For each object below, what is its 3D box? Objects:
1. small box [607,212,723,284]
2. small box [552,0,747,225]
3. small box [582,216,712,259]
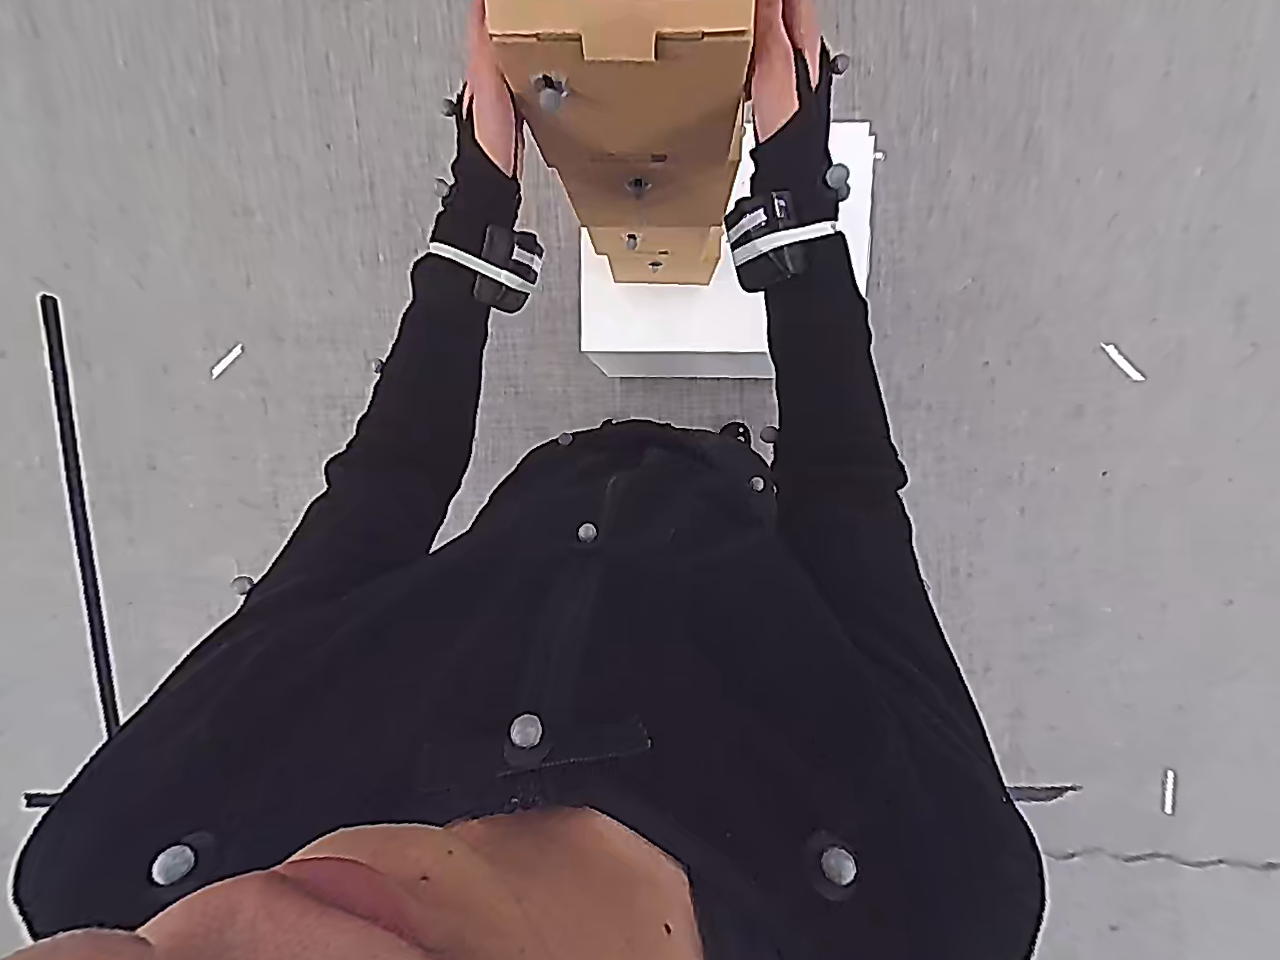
[{"bbox_3d":[0.041,-0.428,0.890,0.179,0.176,0.168,2,96,0],"label":"small box"},{"bbox_3d":[0.011,-0.381,0.567,0.179,0.176,0.168,1,96,2],"label":"small box"},{"bbox_3d":[0.018,-0.412,0.729,0.168,0.176,0.179,4,96,2],"label":"small box"}]
